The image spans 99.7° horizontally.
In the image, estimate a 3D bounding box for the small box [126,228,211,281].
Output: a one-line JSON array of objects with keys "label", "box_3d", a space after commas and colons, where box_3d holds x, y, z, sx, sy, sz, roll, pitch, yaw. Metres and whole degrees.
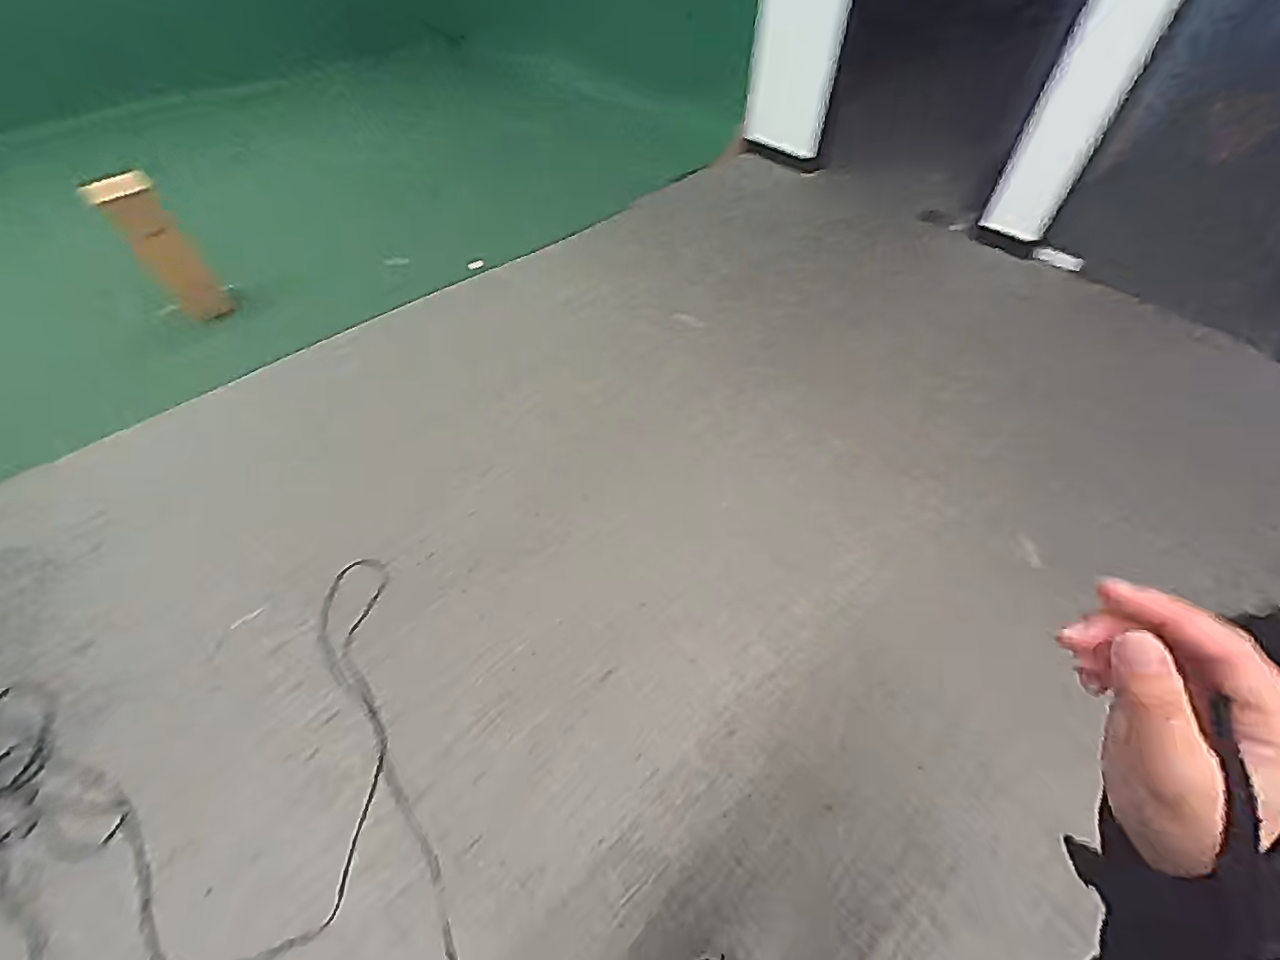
[{"label": "small box", "box_3d": [-1.800, -0.887, 2.071, 0.168, 0.176, 0.179, -38, 61, -25]}]

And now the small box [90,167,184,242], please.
[{"label": "small box", "box_3d": [-1.801, -0.989, 1.943, 0.168, 0.176, 0.179, -38, 62, -24]}]
